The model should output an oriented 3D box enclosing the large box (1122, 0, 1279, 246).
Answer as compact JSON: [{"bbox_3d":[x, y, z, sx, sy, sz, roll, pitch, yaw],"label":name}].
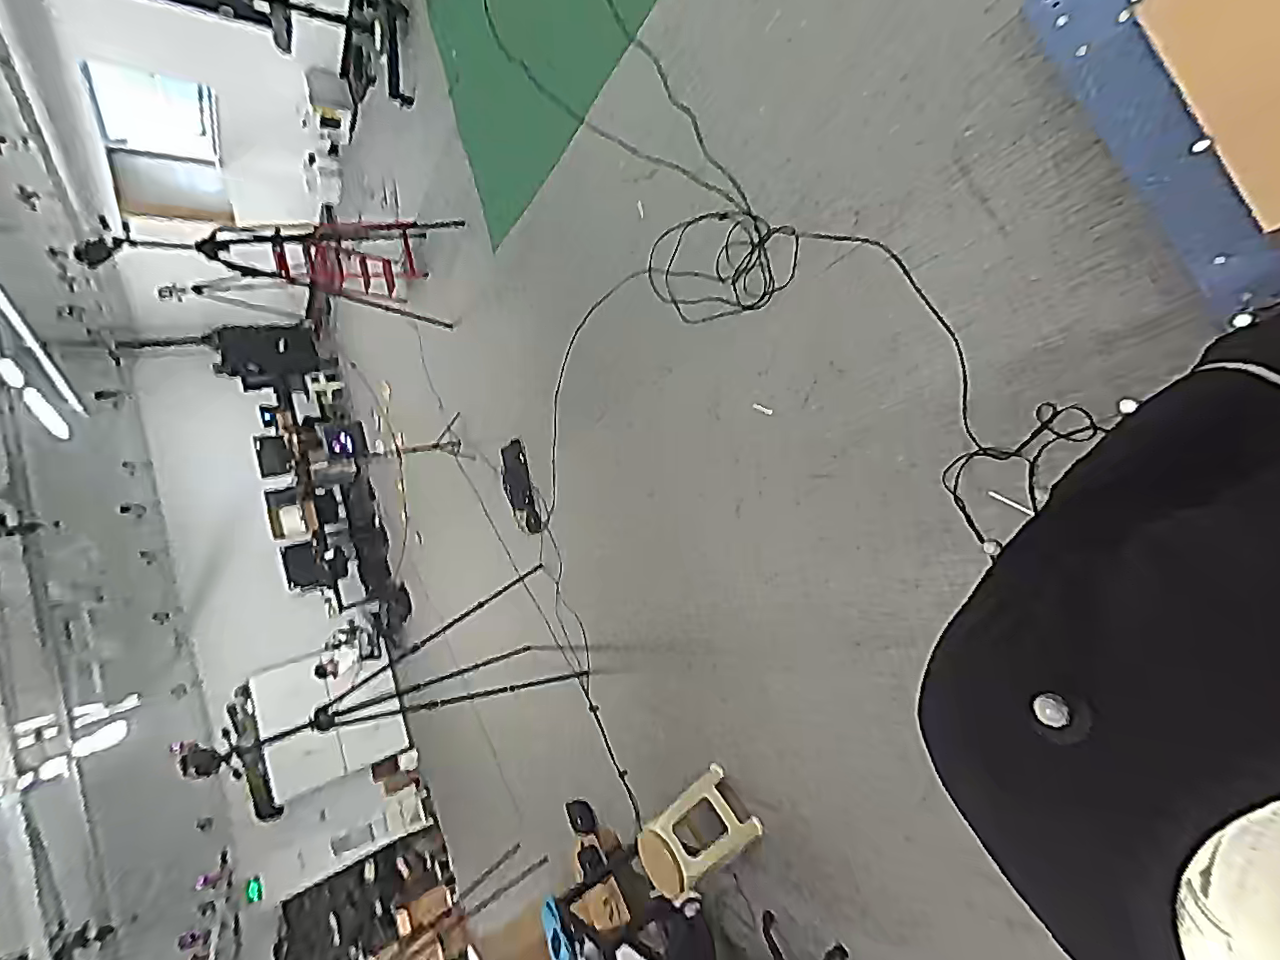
[{"bbox_3d":[0.997,-0.605,0.761,0.320,0.320,0.408,-31,75,50],"label":"large box"}]
